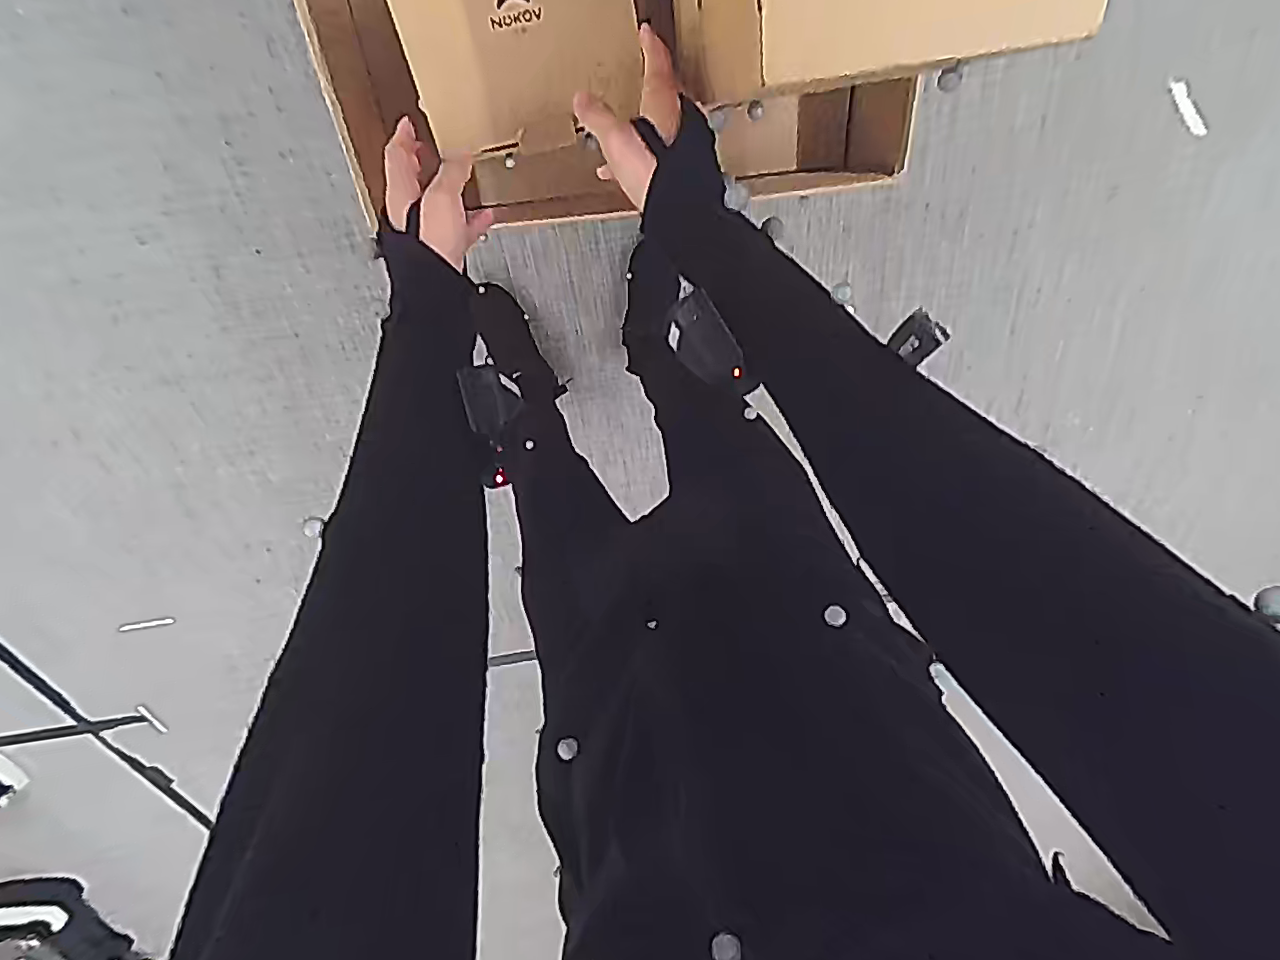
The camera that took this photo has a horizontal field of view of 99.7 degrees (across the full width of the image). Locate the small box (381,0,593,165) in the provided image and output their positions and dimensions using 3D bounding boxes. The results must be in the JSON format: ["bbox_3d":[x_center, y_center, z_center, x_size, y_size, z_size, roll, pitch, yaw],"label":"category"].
[{"bbox_3d":[-0.151,-0.446,0.567,0.168,0.176,0.179,-12,122,1],"label":"small box"}]
